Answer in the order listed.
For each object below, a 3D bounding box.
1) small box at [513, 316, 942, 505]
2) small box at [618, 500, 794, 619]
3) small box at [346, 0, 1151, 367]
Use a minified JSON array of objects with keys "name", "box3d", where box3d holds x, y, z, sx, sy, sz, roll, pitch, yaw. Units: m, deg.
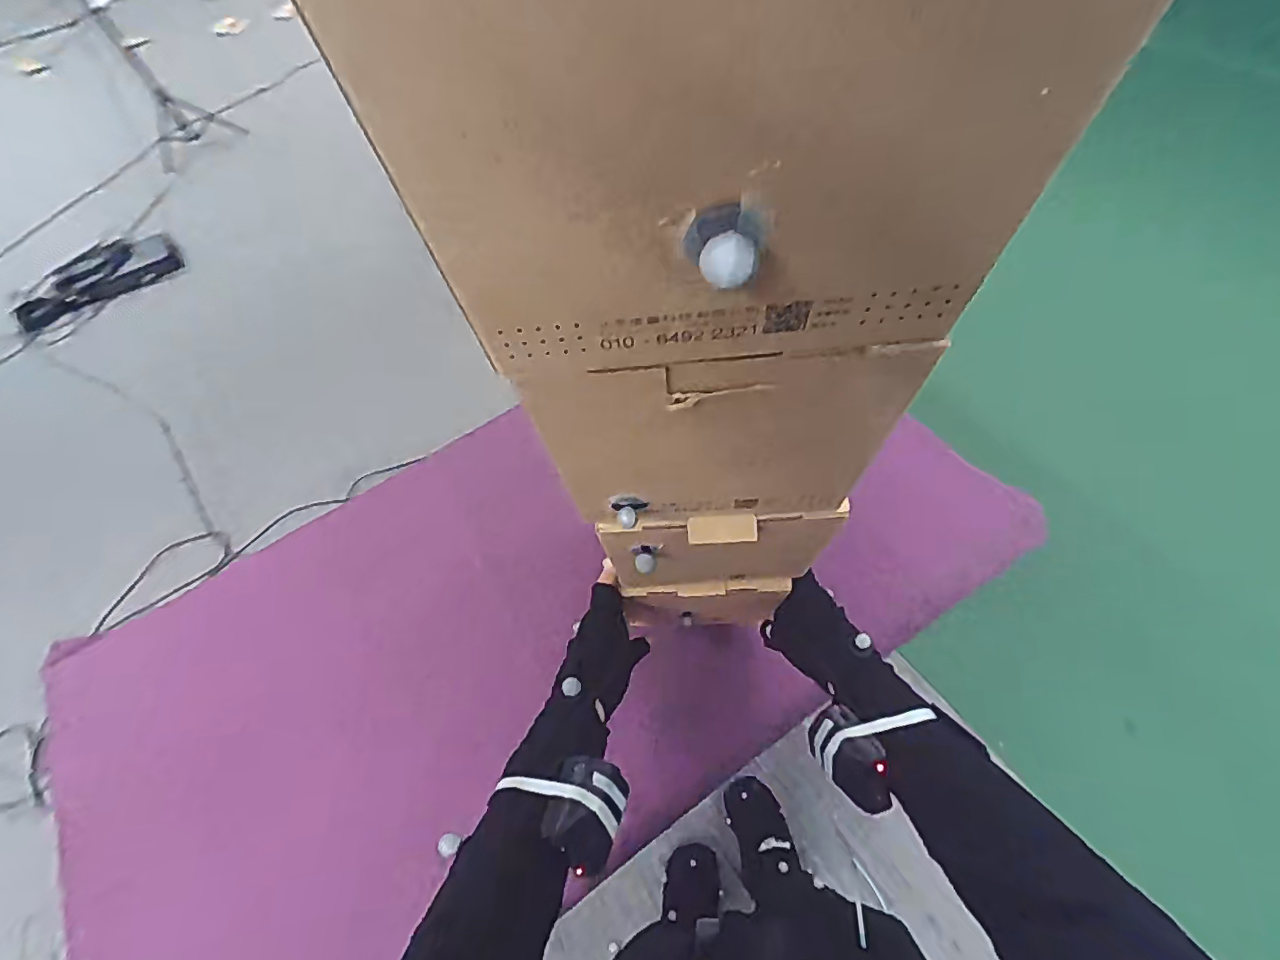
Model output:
[{"name":"small box","box3d":[0.037,-0.091,0.309,0.168,0.176,0.179,-3,65,4]},{"name":"small box","box3d":[0.066,0.053,0.605,0.168,0.176,0.179,-2,67,4]},{"name":"small box","box3d":[0.018,-0.157,0.160,0.168,0.176,0.179,-4,66,4]}]
